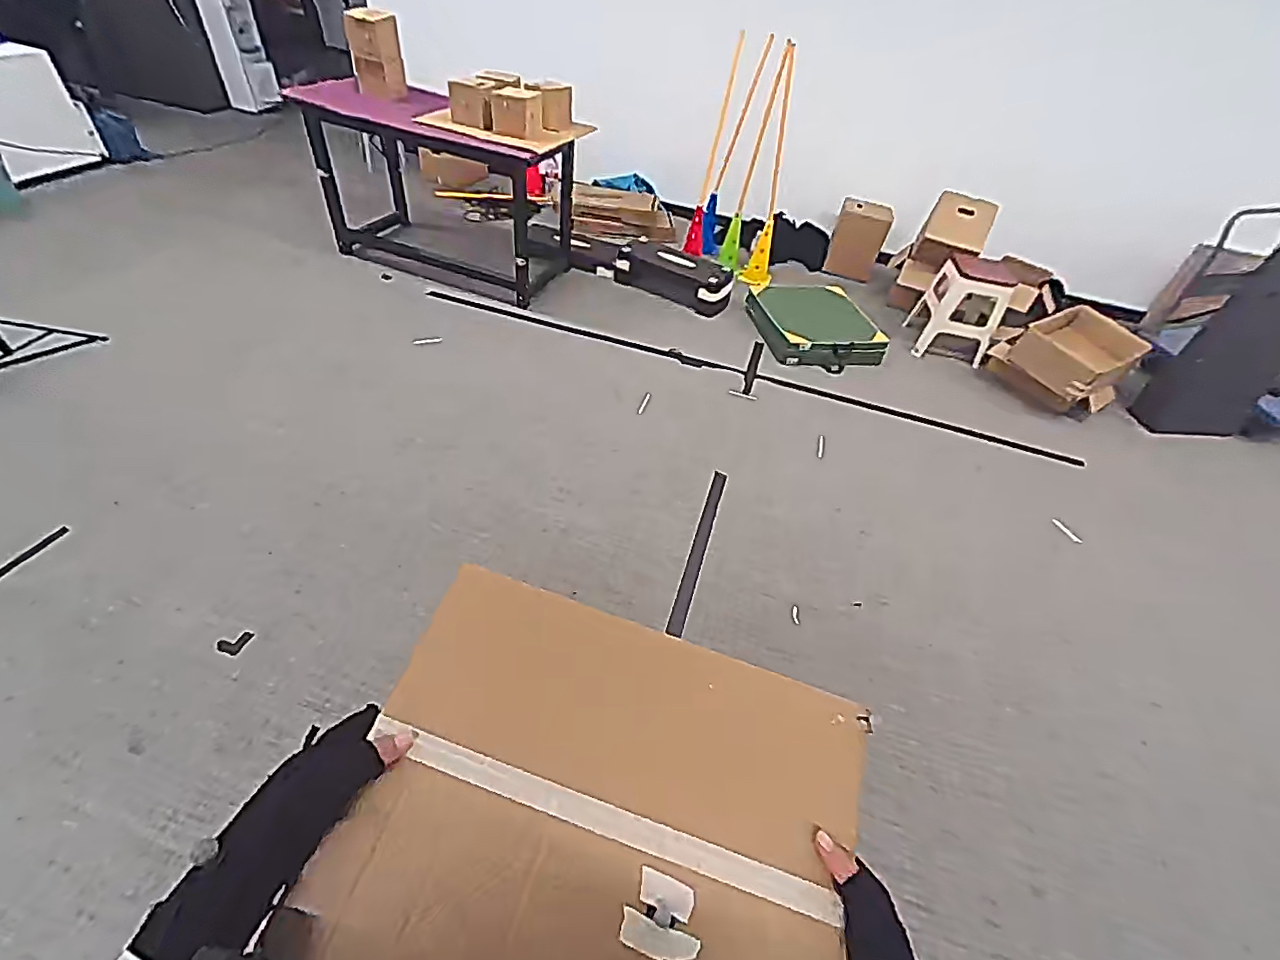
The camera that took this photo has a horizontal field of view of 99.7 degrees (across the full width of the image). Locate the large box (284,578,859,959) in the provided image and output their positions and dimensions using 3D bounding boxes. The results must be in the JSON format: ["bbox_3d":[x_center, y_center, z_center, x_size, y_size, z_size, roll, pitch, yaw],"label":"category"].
[{"bbox_3d":[-0.041,0.351,0.576,0.408,0.320,0.320,18,61,5],"label":"large box"}]
